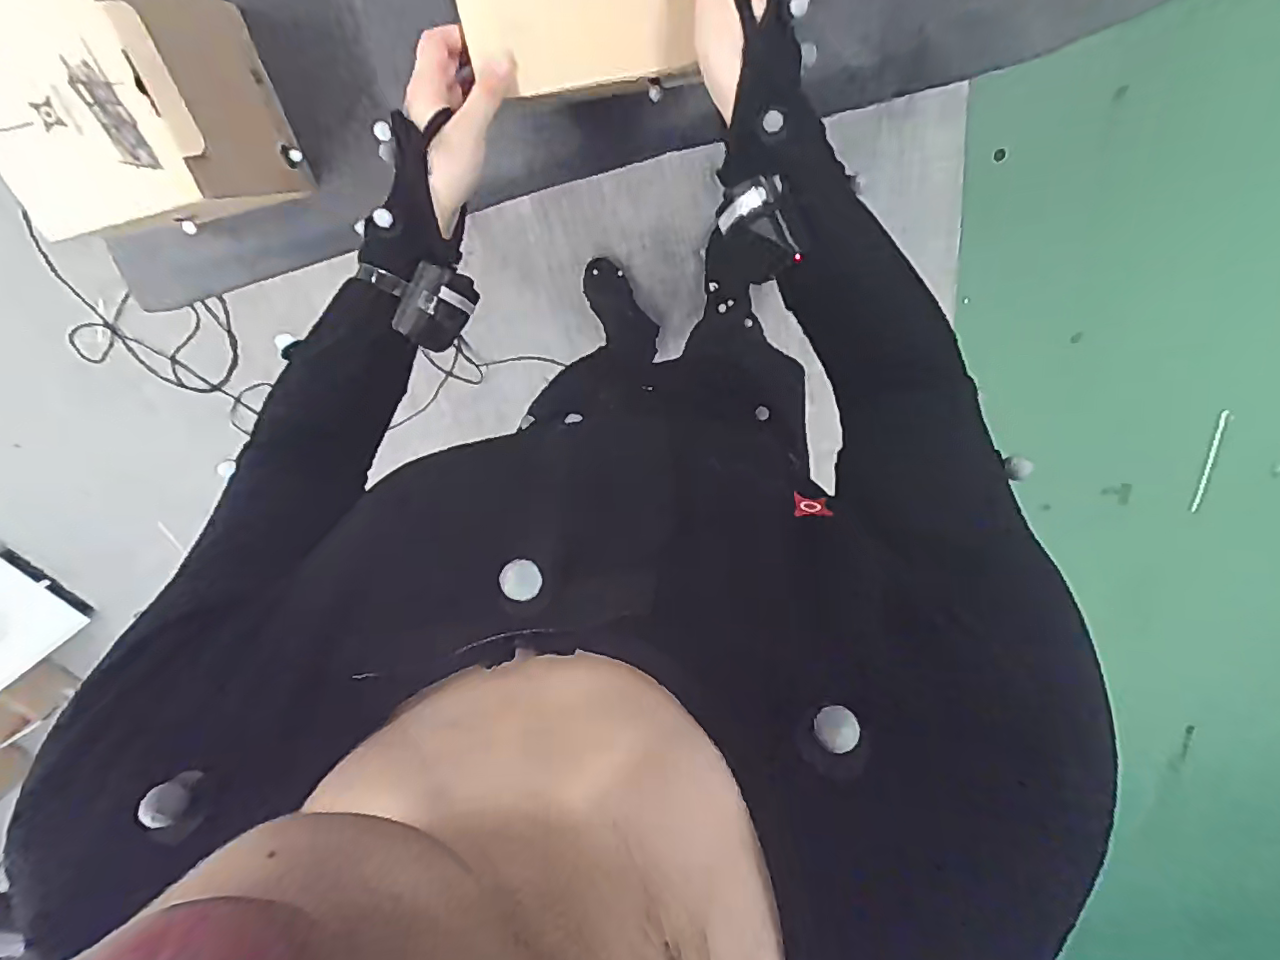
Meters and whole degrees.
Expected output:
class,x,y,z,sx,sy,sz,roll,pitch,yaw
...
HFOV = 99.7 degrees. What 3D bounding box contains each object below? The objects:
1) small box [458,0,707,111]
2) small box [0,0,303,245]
class,x,y,z,sx,sy,sz,roll,pitch,yaw
small box,-0.039,-0.404,0.428,0.179,0.176,0.168,-4,123,9
small box,-0.462,-0.337,0.510,0.179,0.176,0.168,-8,120,11
